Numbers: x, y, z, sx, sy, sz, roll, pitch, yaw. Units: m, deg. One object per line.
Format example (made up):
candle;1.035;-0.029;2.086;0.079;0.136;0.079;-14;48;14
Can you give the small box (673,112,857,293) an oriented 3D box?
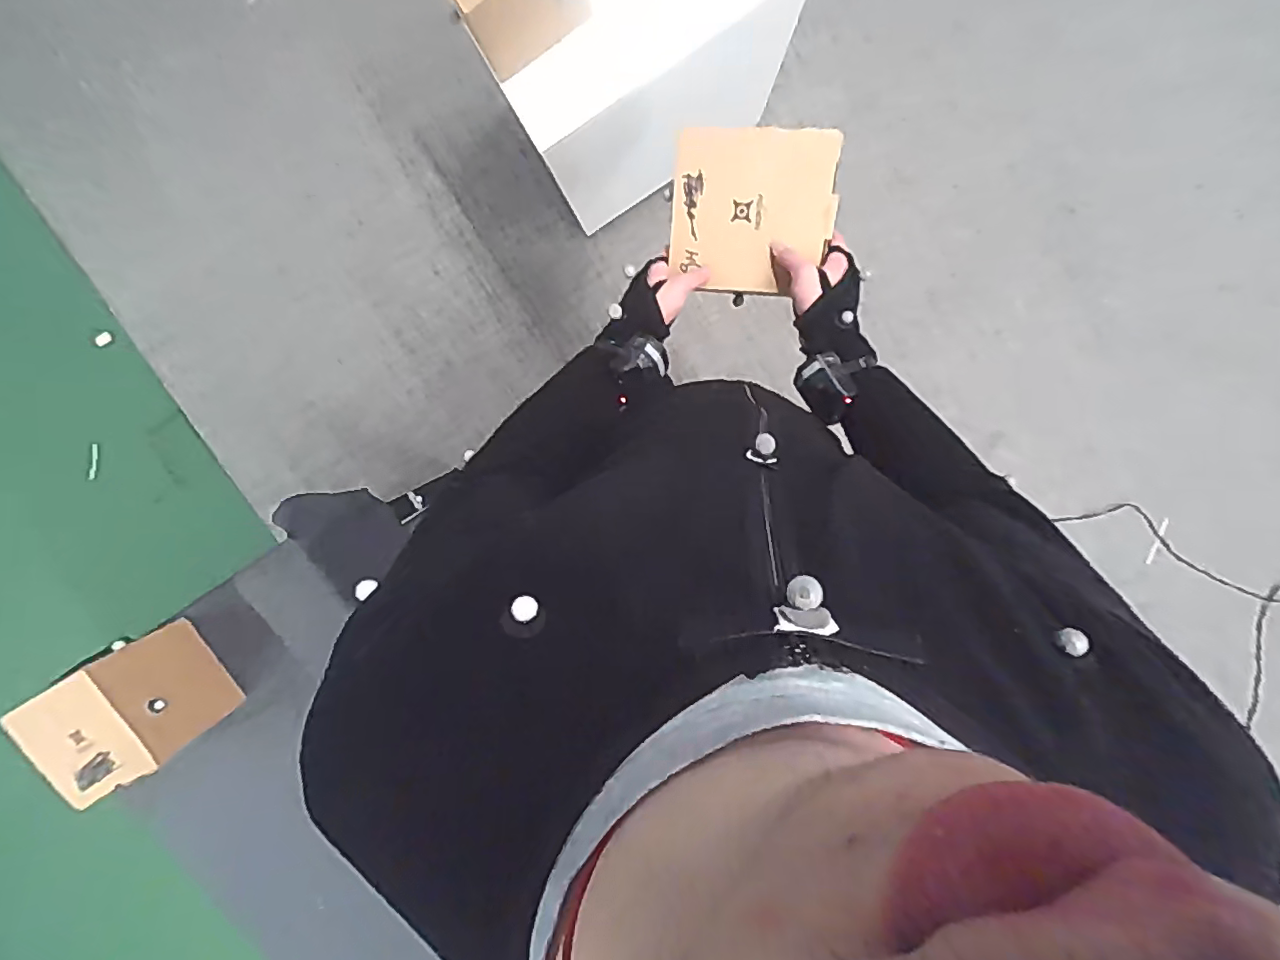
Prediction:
small box;0.135;-0.318;0.651;0.179;0.176;0.168;5;108;4

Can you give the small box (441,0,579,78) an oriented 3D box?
small box;-0.194;-0.700;0.718;0.179;0.176;0.168;-33;98;6
